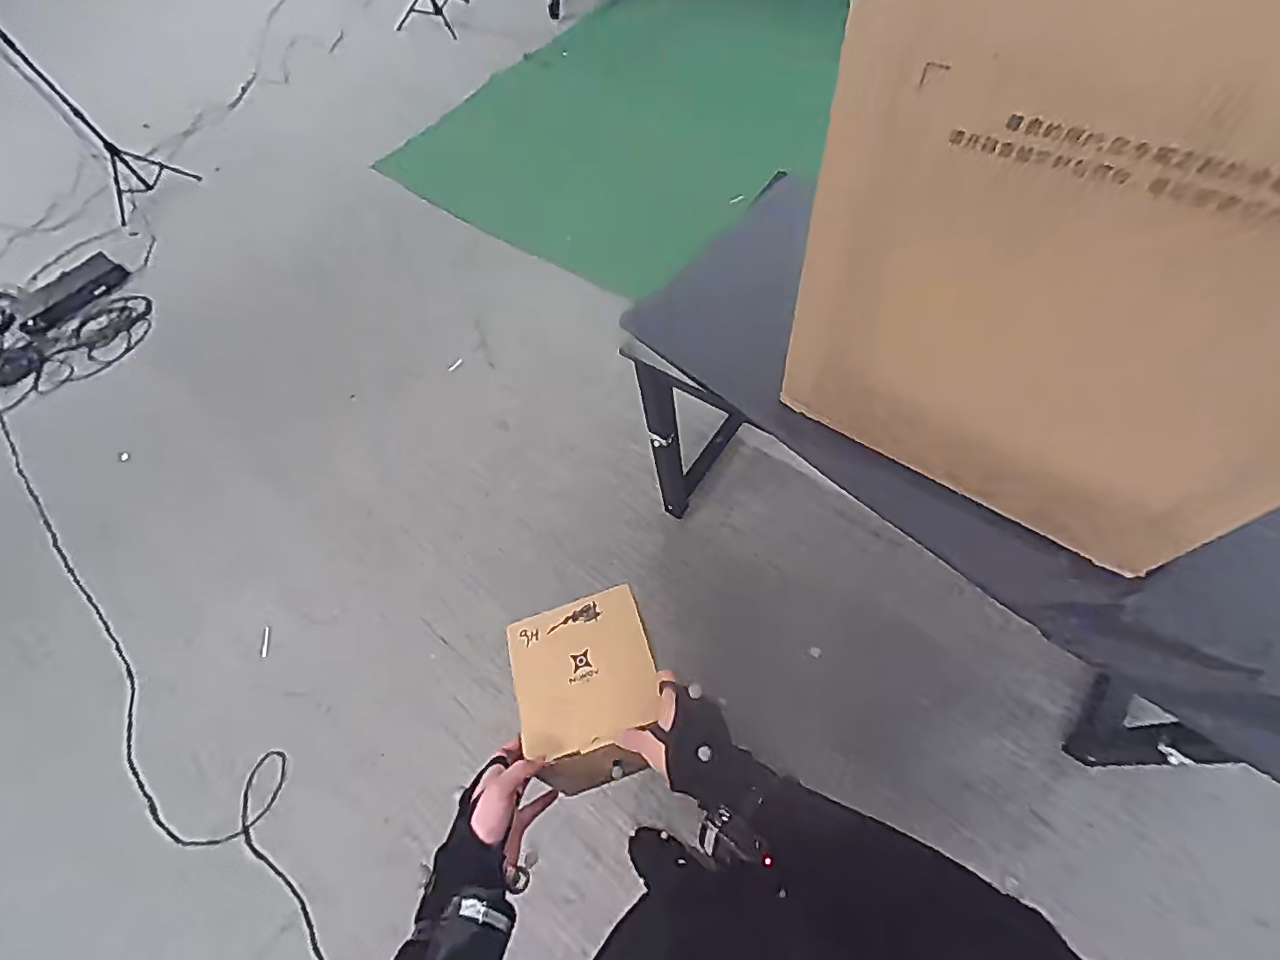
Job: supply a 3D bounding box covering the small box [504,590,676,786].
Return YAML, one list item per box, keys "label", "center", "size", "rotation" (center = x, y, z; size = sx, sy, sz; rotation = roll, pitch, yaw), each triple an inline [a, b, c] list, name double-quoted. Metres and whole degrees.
- label: "small box"
  center: [-0.060, 0.277, 0.703]
  size: [0.168, 0.176, 0.179]
  rotation: [-19, 51, -2]
